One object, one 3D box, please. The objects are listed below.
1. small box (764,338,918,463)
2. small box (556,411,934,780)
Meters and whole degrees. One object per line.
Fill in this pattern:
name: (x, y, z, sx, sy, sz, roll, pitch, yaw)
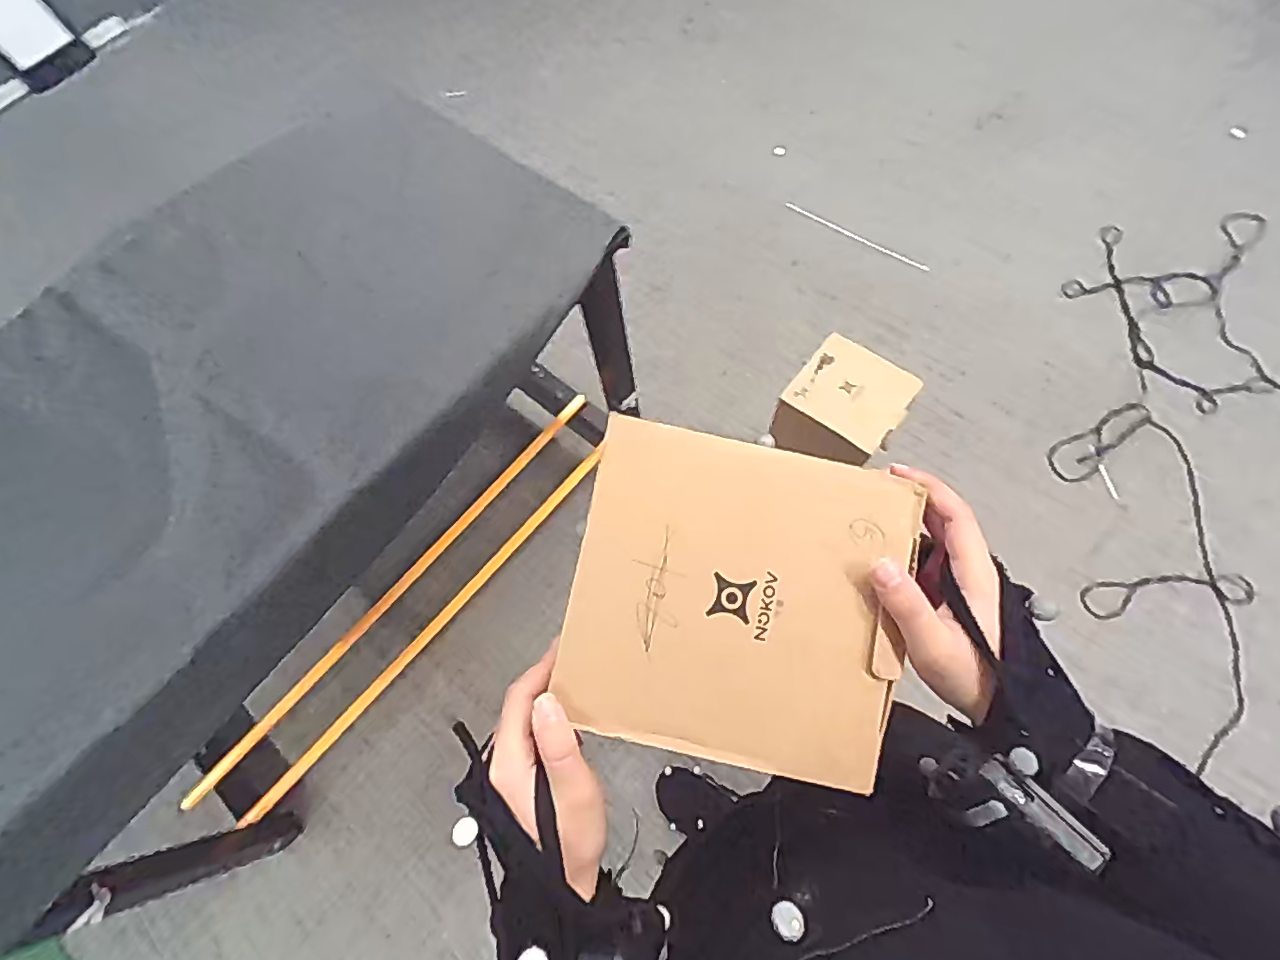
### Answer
small box: (0.348, -0.110, 0.968, 0.179, 0.176, 0.168, 38, 74, 16)
small box: (0.057, 0.066, 0.365, 0.179, 0.176, 0.168, 12, 84, 1)
